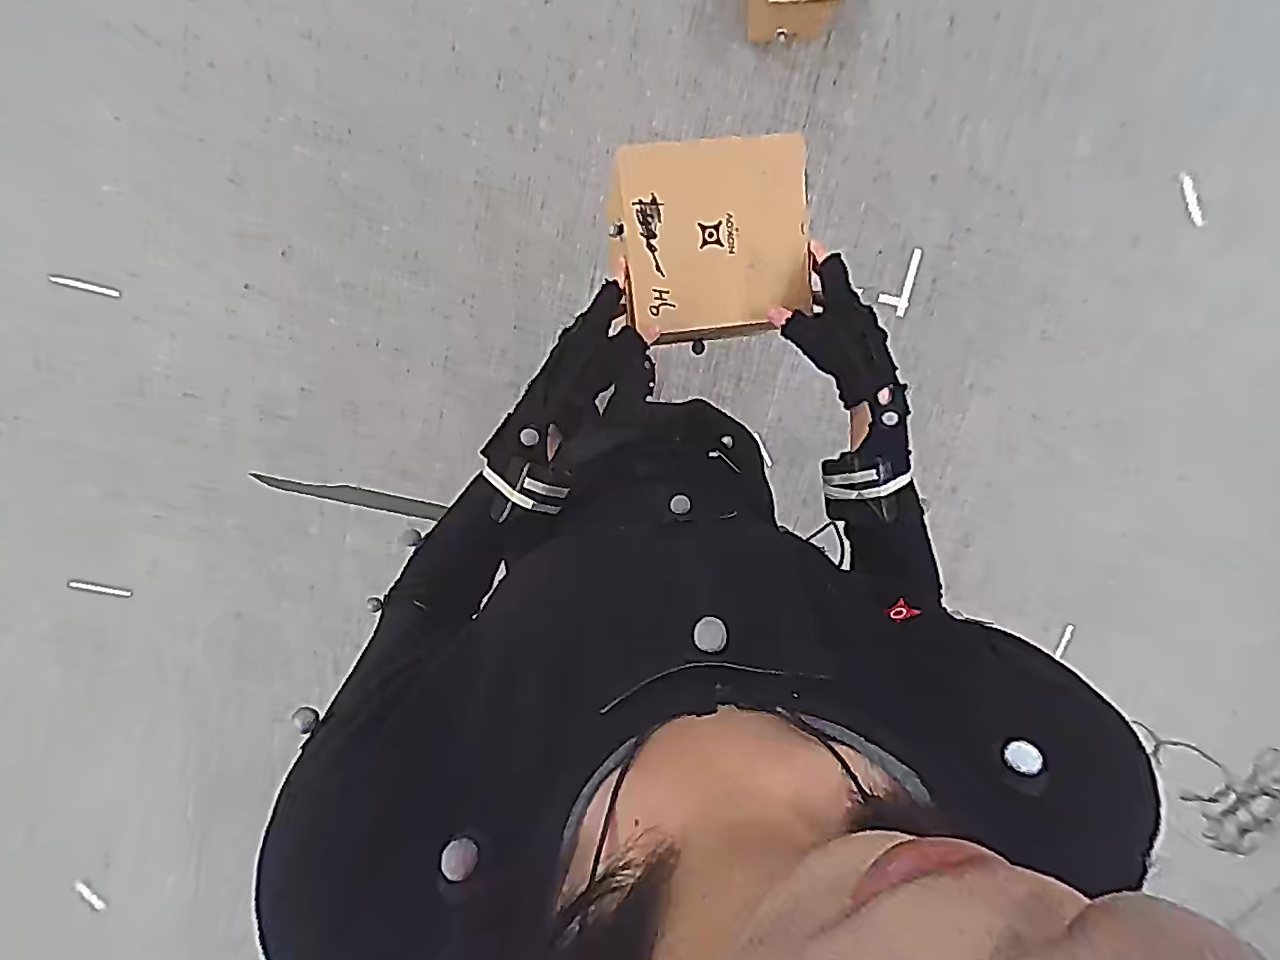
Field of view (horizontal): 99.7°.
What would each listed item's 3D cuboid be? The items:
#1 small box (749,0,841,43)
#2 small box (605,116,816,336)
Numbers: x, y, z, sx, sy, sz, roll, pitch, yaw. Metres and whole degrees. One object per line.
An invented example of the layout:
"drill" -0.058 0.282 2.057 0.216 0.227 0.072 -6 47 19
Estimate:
"small box" 0.338 -1.114 1.192 0.168 0.176 0.179 -6 105 -1
"small box" 0.063 -0.248 0.565 0.179 0.176 0.168 -7 99 -5
